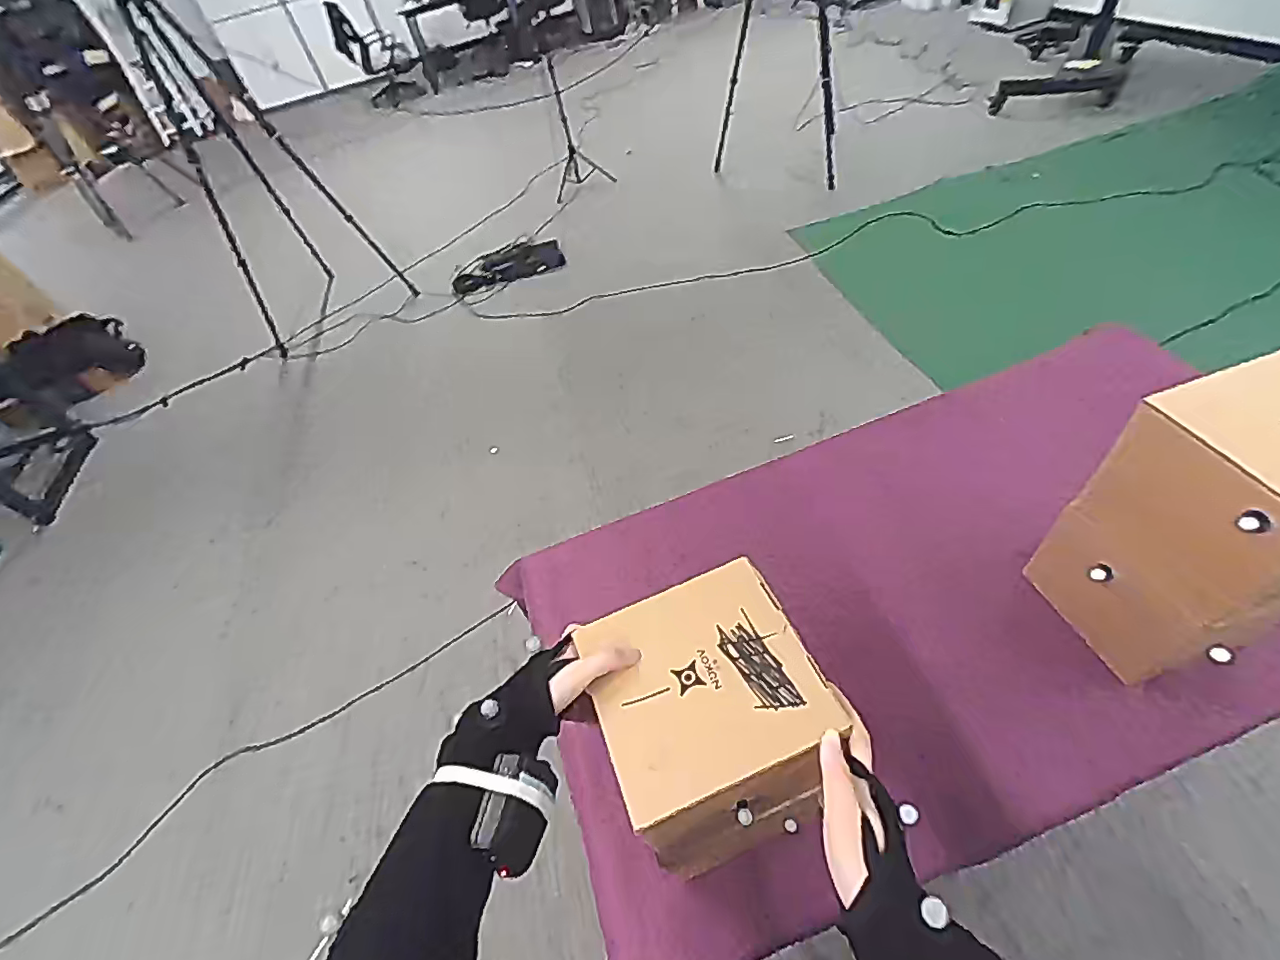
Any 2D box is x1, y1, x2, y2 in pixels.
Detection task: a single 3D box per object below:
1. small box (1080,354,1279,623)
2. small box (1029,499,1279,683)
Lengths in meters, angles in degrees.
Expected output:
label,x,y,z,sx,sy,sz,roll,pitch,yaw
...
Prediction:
label,x,y,z,sx,sy,sz,roll,pitch,yaw
small box,0.599,0.010,0.534,0.168,0.176,0.179,-19,50,-3
small box,0.627,0.114,0.656,0.168,0.176,0.179,-19,49,-2
